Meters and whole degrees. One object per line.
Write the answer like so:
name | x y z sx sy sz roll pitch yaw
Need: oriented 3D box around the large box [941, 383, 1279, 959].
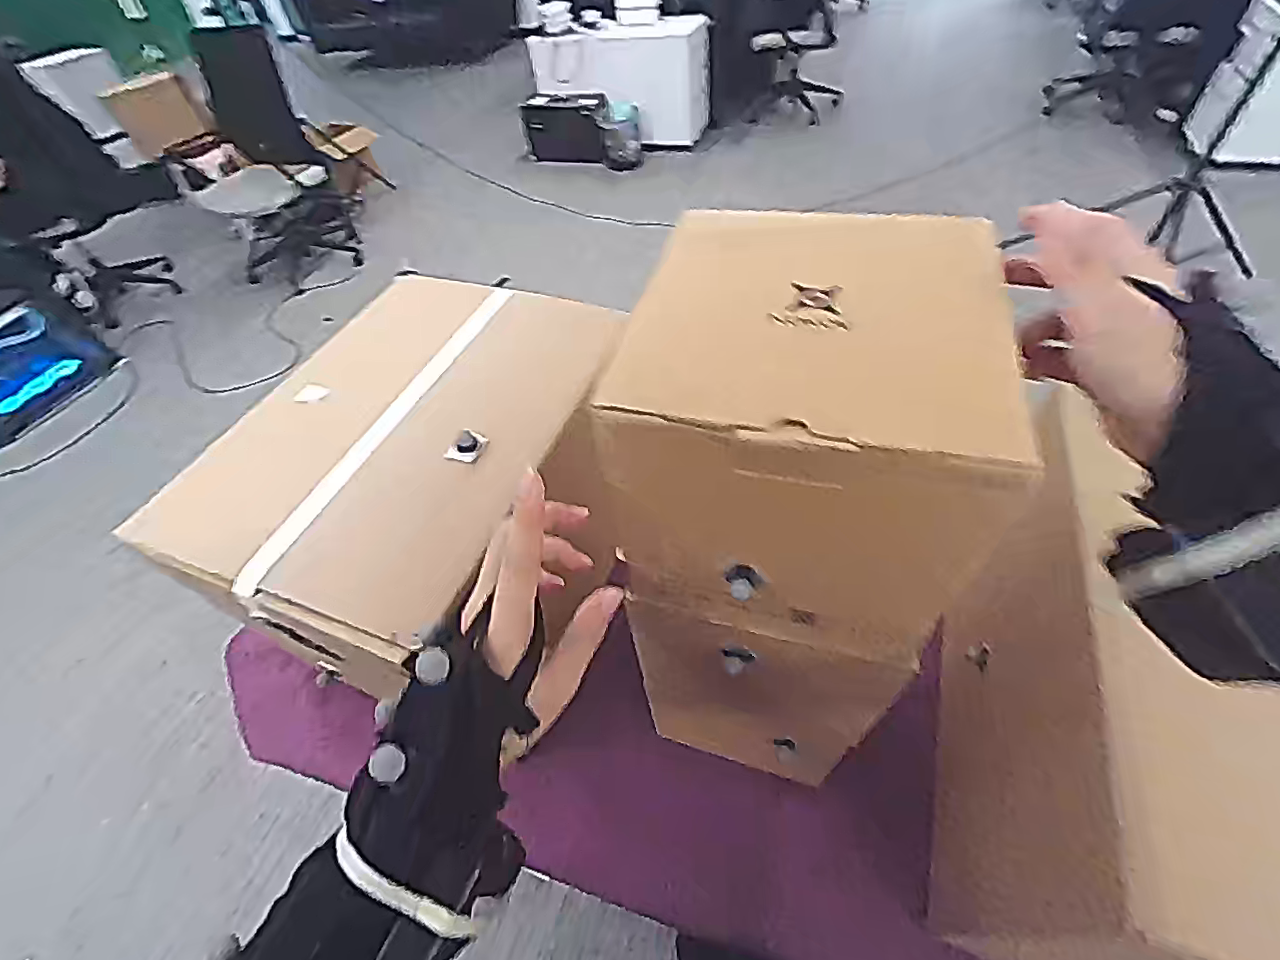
large box | 0.445 0.187 0.416 0.320 0.320 0.408 13 52 17

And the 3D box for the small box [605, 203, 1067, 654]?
small box | 0.092 -0.030 0.306 0.168 0.176 0.179 9 53 14
